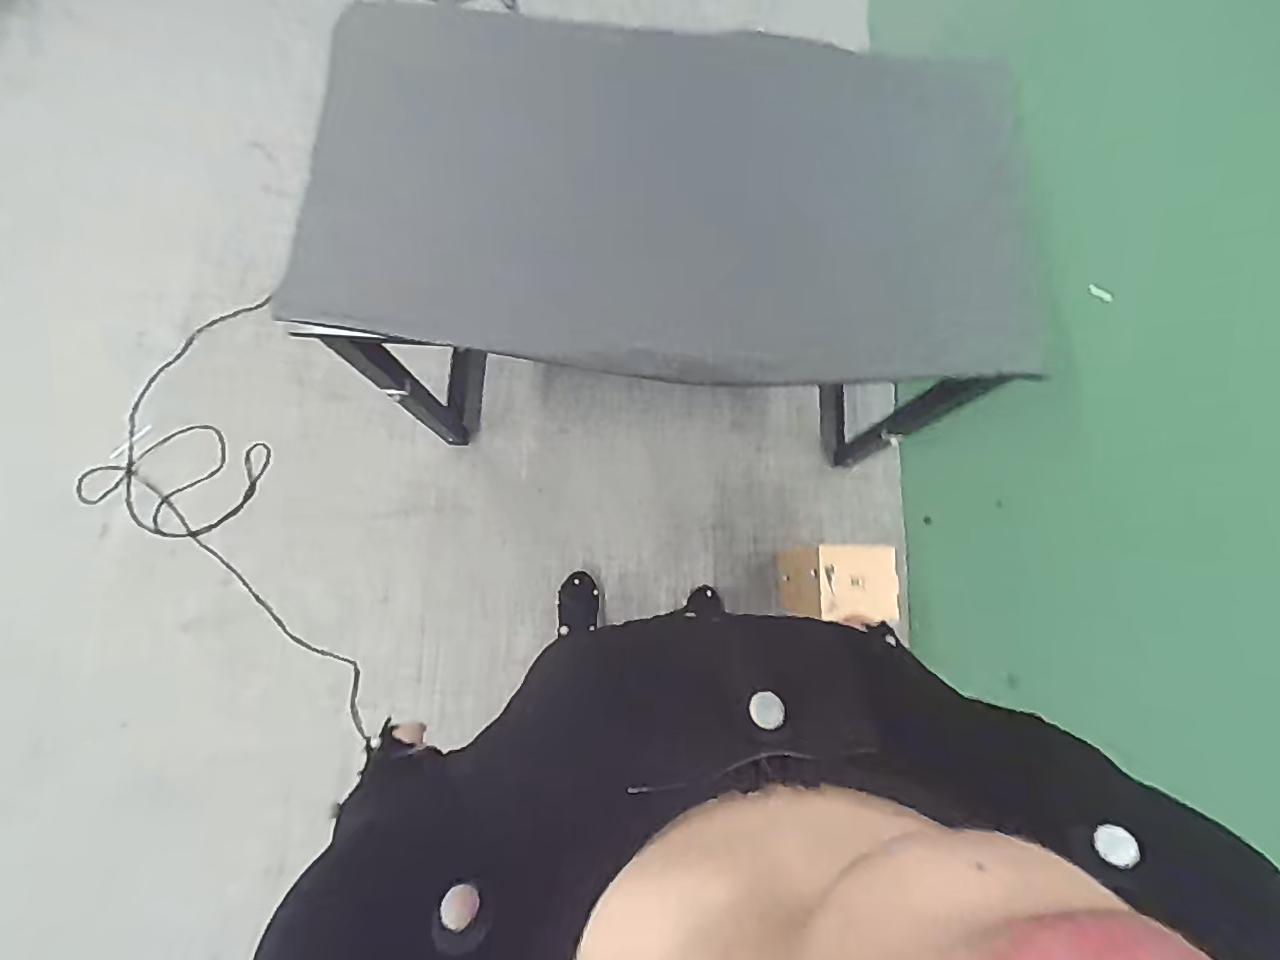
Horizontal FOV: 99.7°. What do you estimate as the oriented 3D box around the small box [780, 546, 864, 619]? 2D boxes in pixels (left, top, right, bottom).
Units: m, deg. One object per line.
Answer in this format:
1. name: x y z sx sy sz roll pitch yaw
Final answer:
1. small box: 0.472 0.270 1.421 0.168 0.176 0.179 1 78 -1
